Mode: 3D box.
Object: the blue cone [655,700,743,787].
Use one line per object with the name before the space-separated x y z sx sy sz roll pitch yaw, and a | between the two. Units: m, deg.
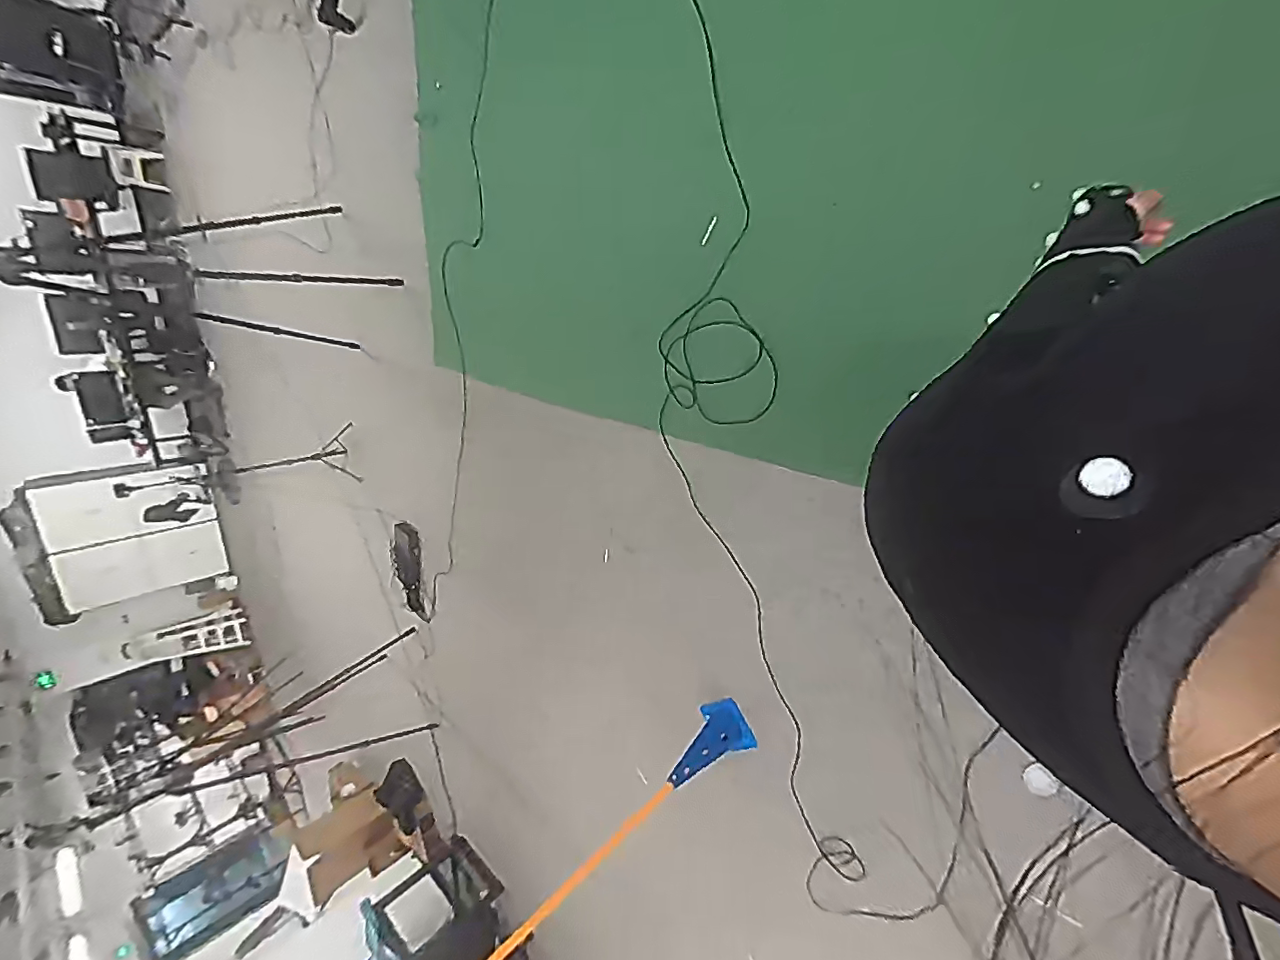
blue cone | 0.191 0.993 1.973 0.193 0.380 0.192 -41 77 44
